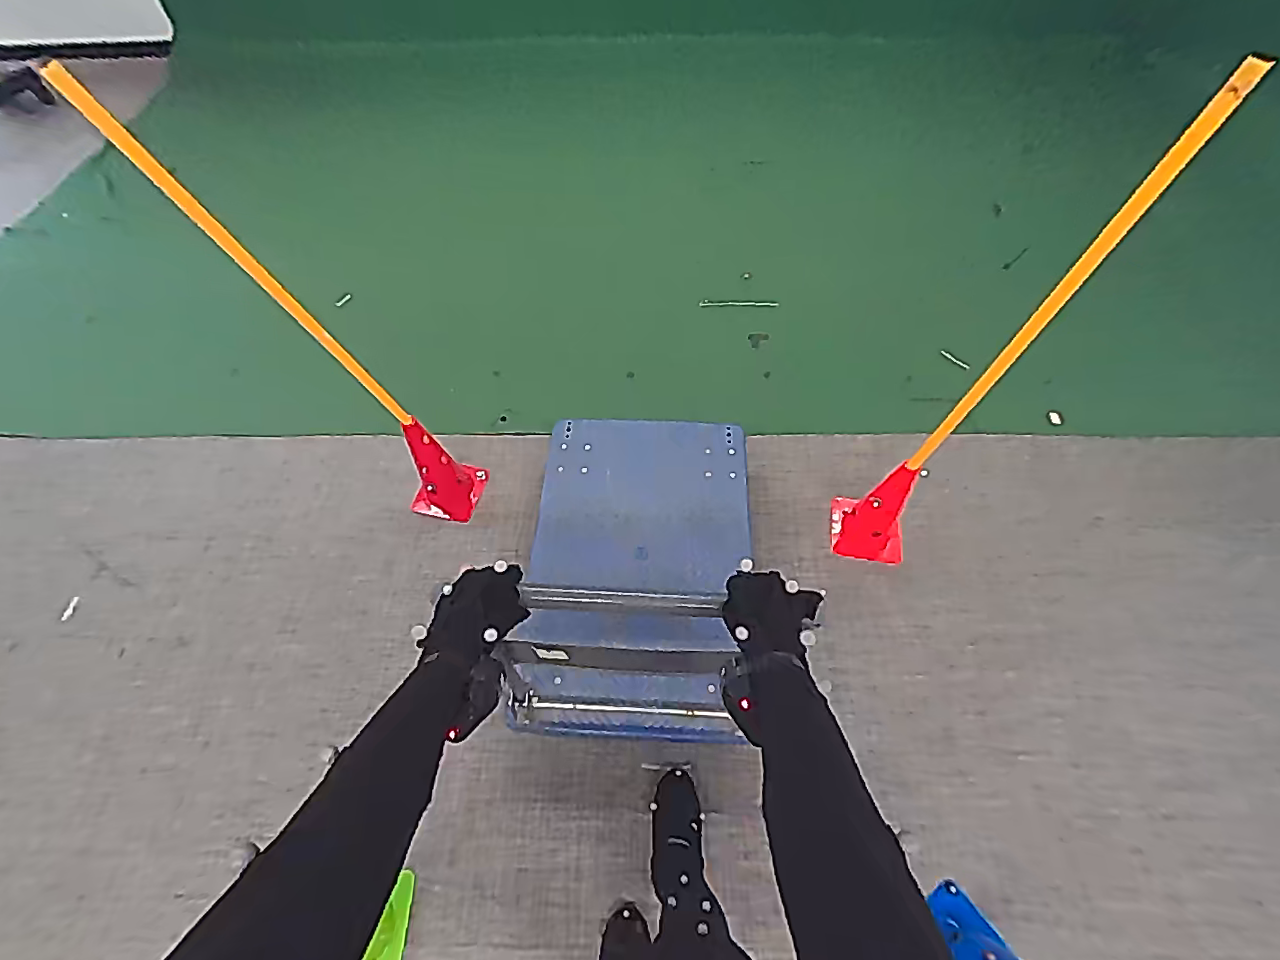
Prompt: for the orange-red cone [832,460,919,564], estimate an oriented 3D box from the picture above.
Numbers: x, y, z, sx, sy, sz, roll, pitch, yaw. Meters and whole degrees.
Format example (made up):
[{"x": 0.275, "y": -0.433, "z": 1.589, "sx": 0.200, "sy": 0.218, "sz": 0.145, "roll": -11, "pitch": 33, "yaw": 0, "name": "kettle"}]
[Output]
[{"x": 0.670, "y": 0.059, "z": 1.467, "sx": 0.198, "sy": 0.360, "sz": 0.199, "roll": 9, "pitch": 60, "yaw": 8, "name": "orange-red cone"}]
